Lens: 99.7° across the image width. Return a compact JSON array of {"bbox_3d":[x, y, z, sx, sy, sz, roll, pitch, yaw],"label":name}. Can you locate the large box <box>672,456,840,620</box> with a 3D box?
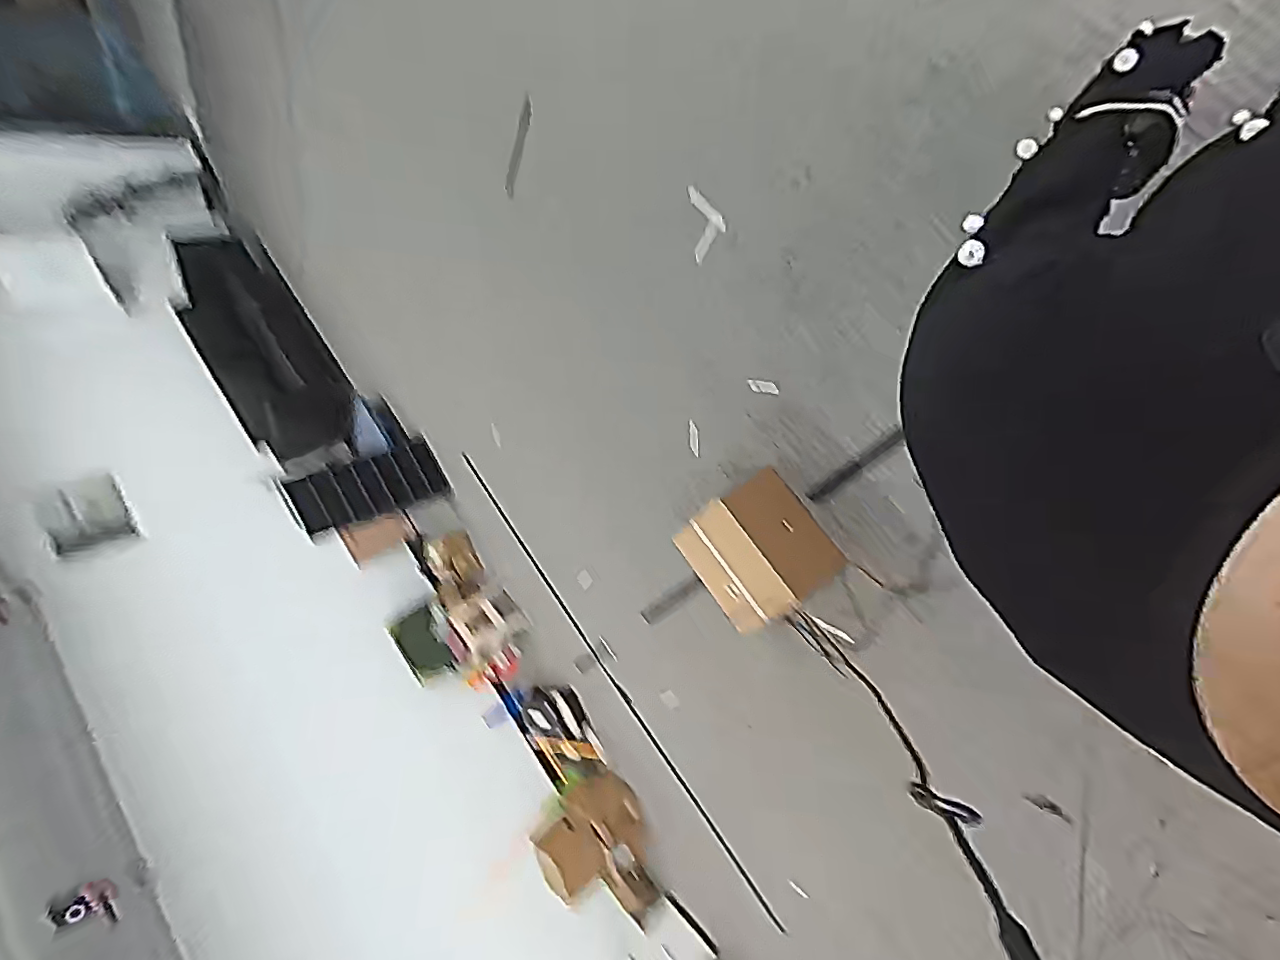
[{"bbox_3d":[0.391,0.193,1.853,0.408,0.320,0.320,53,140,12],"label":"large box"}]
